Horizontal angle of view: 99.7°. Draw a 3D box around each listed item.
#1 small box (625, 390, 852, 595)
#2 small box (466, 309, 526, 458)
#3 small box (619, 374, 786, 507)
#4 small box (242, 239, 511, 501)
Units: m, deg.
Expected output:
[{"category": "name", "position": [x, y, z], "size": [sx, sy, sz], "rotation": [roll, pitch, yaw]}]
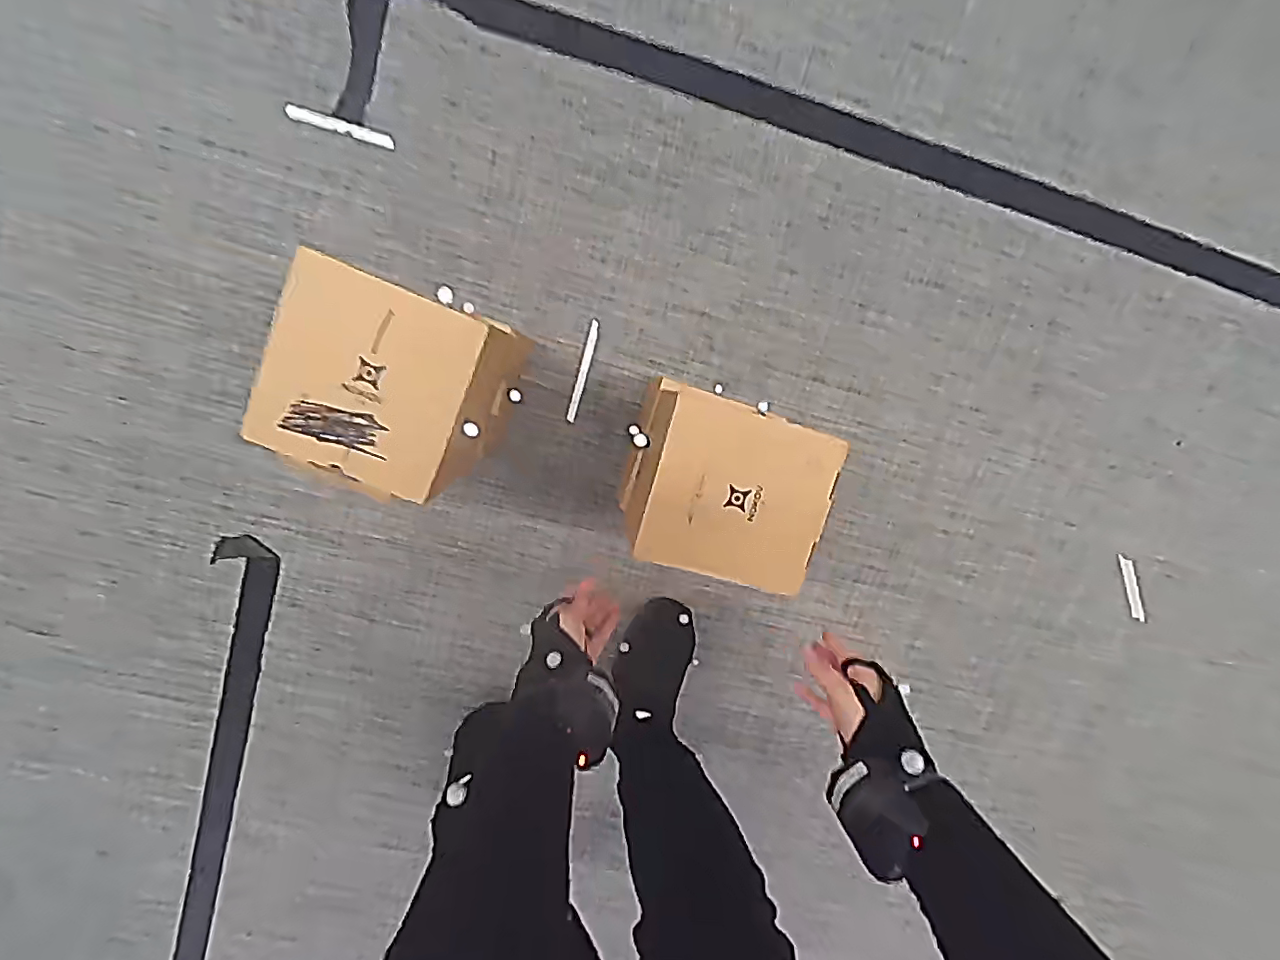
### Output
[{"category": "small box", "position": [0.090, 0.001, 0.591], "size": [0.179, 0.176, 0.168], "rotation": [16, 99, -7]}, {"category": "small box", "position": [-0.257, -0.143, 0.701], "size": [0.179, 0.176, 0.168], "rotation": [17, 100, -9]}, {"category": "small box", "position": [0.072, -0.038, 0.748], "size": [0.168, 0.176, 0.179], "rotation": [18, 100, -7]}, {"category": "small box", "position": [-0.241, -0.103, 0.541], "size": [0.168, 0.176, 0.179], "rotation": [22, 98, -9]}]
